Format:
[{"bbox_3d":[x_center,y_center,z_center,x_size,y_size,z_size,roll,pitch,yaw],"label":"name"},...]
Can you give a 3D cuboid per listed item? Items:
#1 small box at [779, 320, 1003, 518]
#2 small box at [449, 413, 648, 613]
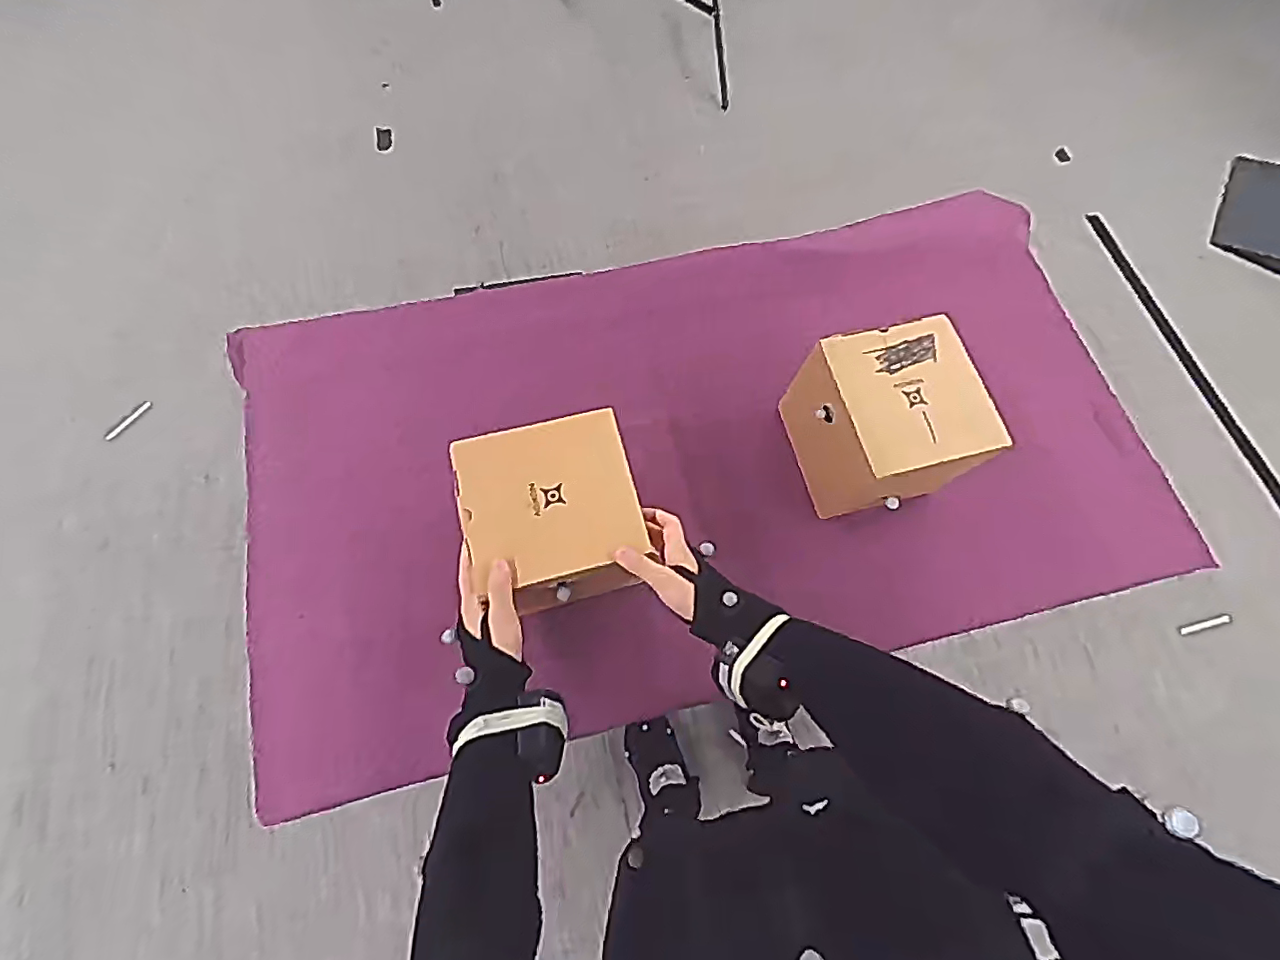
[{"bbox_3d":[0.294,-0.069,0.681,0.168,0.176,0.179,-13,72,-7],"label":"small box"},{"bbox_3d":[-0.099,0.046,0.621,0.179,0.176,0.168,-14,71,-7],"label":"small box"}]
